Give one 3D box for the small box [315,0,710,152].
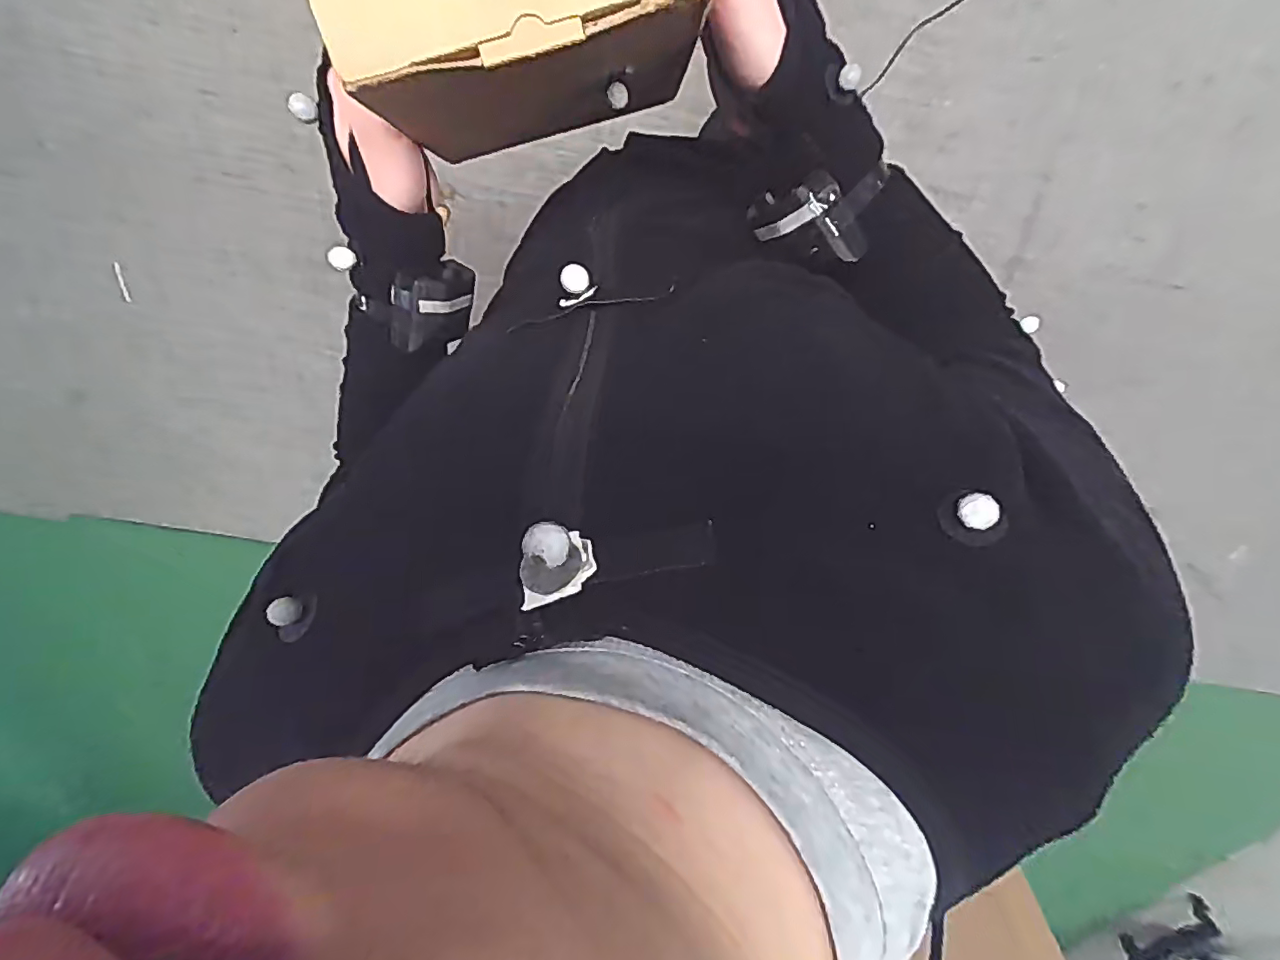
[{"bbox_3d":[-0.069,-0.288,0.273,0.168,0.176,0.179,-15,110,1],"label":"small box"}]
